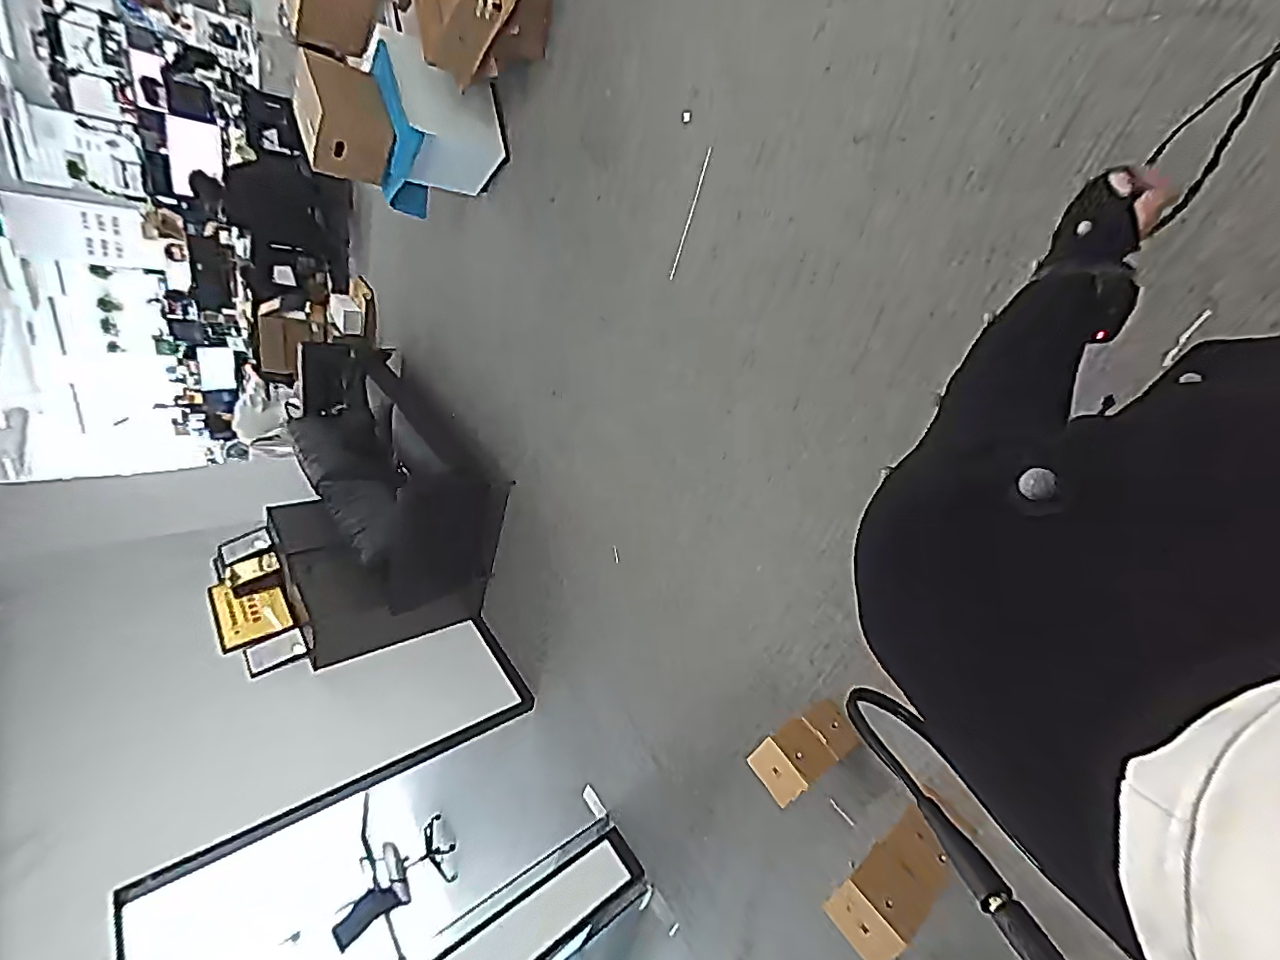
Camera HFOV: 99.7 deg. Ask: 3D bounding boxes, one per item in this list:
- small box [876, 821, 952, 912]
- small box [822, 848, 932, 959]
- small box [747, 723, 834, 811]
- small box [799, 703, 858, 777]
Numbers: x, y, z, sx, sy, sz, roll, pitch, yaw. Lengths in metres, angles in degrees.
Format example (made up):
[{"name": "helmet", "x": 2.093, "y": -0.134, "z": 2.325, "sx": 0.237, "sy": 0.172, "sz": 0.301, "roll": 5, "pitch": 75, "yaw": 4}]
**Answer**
[{"name": "small box", "x": 0.742, "y": 1.108, "z": 1.517, "sx": 0.168, "sy": 0.176, "sz": 0.179, "roll": 41, "pitch": 127, "yaw": 36}, {"name": "small box", "x": 0.619, "y": 1.117, "z": 1.406, "sx": 0.179, "sy": 0.176, "sz": 0.168, "roll": 42, "pitch": 126, "yaw": 36}, {"name": "small box", "x": 0.491, "y": 0.923, "z": 1.761, "sx": 0.179, "sy": 0.176, "sz": 0.168, "roll": 47, "pitch": 129, "yaw": 31}, {"name": "small box", "x": 0.619, "y": 0.901, "z": 1.860, "sx": 0.168, "sy": 0.176, "sz": 0.179, "roll": 50, "pitch": 129, "yaw": 31}]
